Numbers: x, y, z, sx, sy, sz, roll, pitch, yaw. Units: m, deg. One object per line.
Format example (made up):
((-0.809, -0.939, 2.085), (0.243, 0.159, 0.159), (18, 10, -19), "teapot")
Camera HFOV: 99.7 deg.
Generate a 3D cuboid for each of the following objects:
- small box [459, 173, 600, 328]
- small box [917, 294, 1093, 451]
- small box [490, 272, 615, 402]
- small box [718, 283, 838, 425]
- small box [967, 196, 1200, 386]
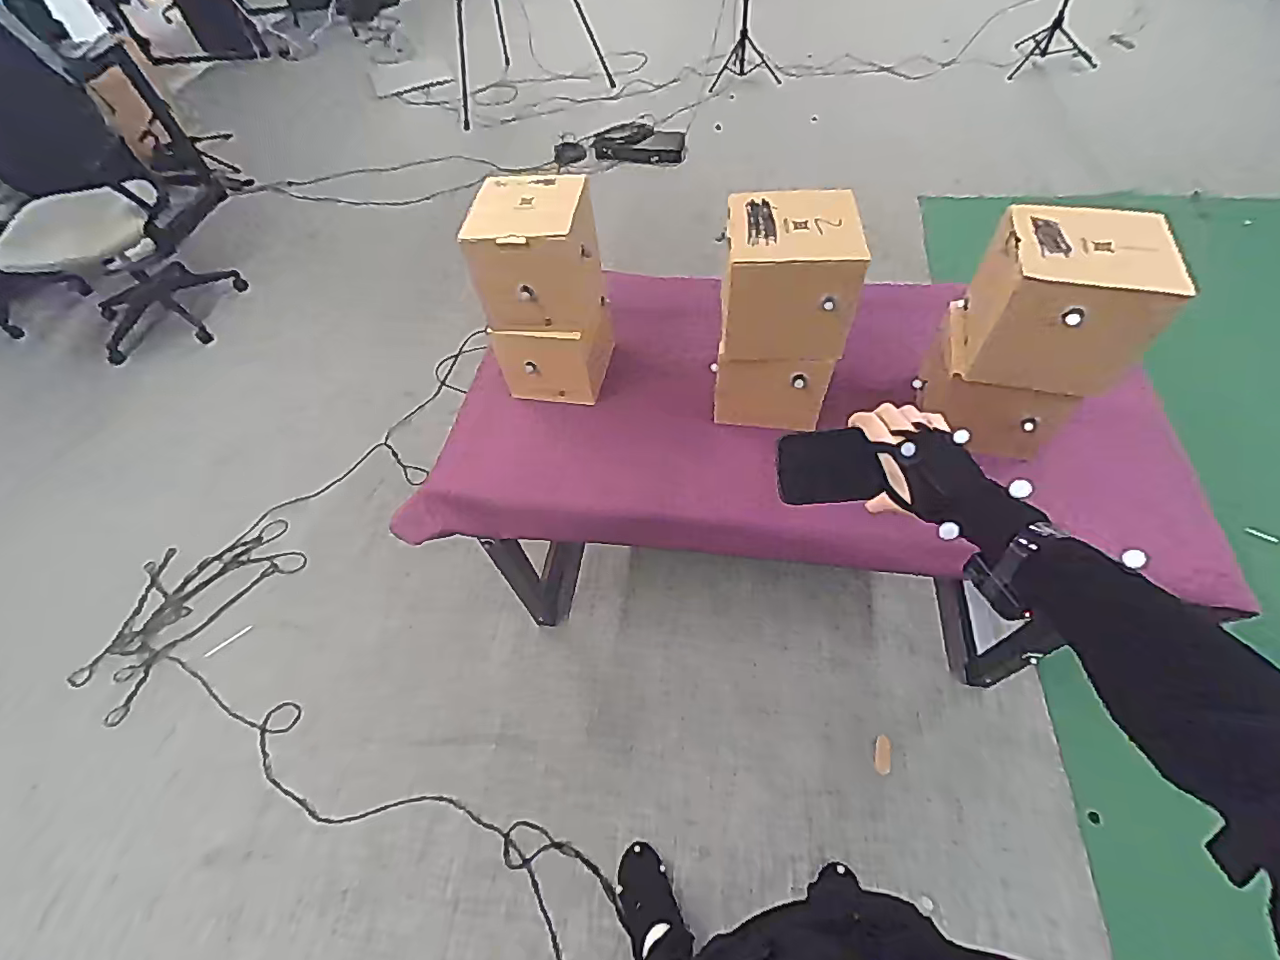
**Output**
((-0.164, -0.363, 0.872), (0.168, 0.176, 0.179), (2, 57, 7), "small box")
((0.560, -0.165, 0.852), (0.179, 0.176, 0.168), (11, 57, 14), "small box")
((-0.150, -0.264, 1.002), (0.168, 0.176, 0.179), (6, 56, 11), "small box")
((0.229, -0.210, 0.919), (0.179, 0.176, 0.168), (5, 56, 11), "small box")
((0.550, -0.244, 0.708), (0.179, 0.176, 0.168), (11, 57, 13), "small box")
